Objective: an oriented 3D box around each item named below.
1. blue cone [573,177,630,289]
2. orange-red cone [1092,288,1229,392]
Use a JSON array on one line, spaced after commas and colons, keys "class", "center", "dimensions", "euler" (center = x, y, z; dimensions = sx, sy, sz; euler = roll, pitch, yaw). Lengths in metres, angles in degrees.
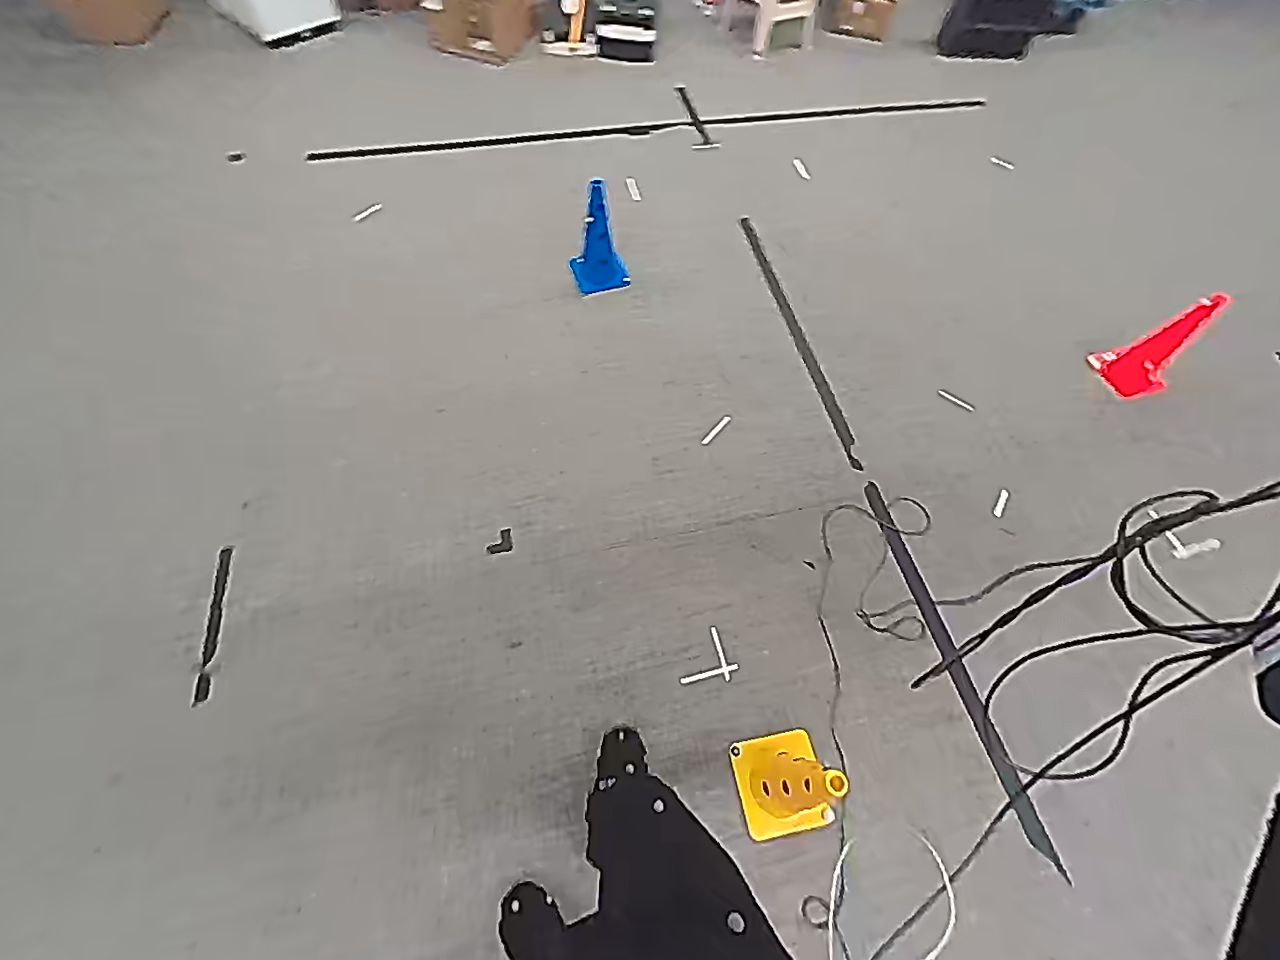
[{"class": "blue cone", "center": [-0.142, -0.880, 1.915], "dimensions": [0.192, 0.380, 0.193], "euler": [-15, 63, -11]}, {"class": "orange-red cone", "center": [1.773, -0.489, 1.807], "dimensions": [0.198, 0.360, 0.199], "euler": [-14, 61, -12]}]
